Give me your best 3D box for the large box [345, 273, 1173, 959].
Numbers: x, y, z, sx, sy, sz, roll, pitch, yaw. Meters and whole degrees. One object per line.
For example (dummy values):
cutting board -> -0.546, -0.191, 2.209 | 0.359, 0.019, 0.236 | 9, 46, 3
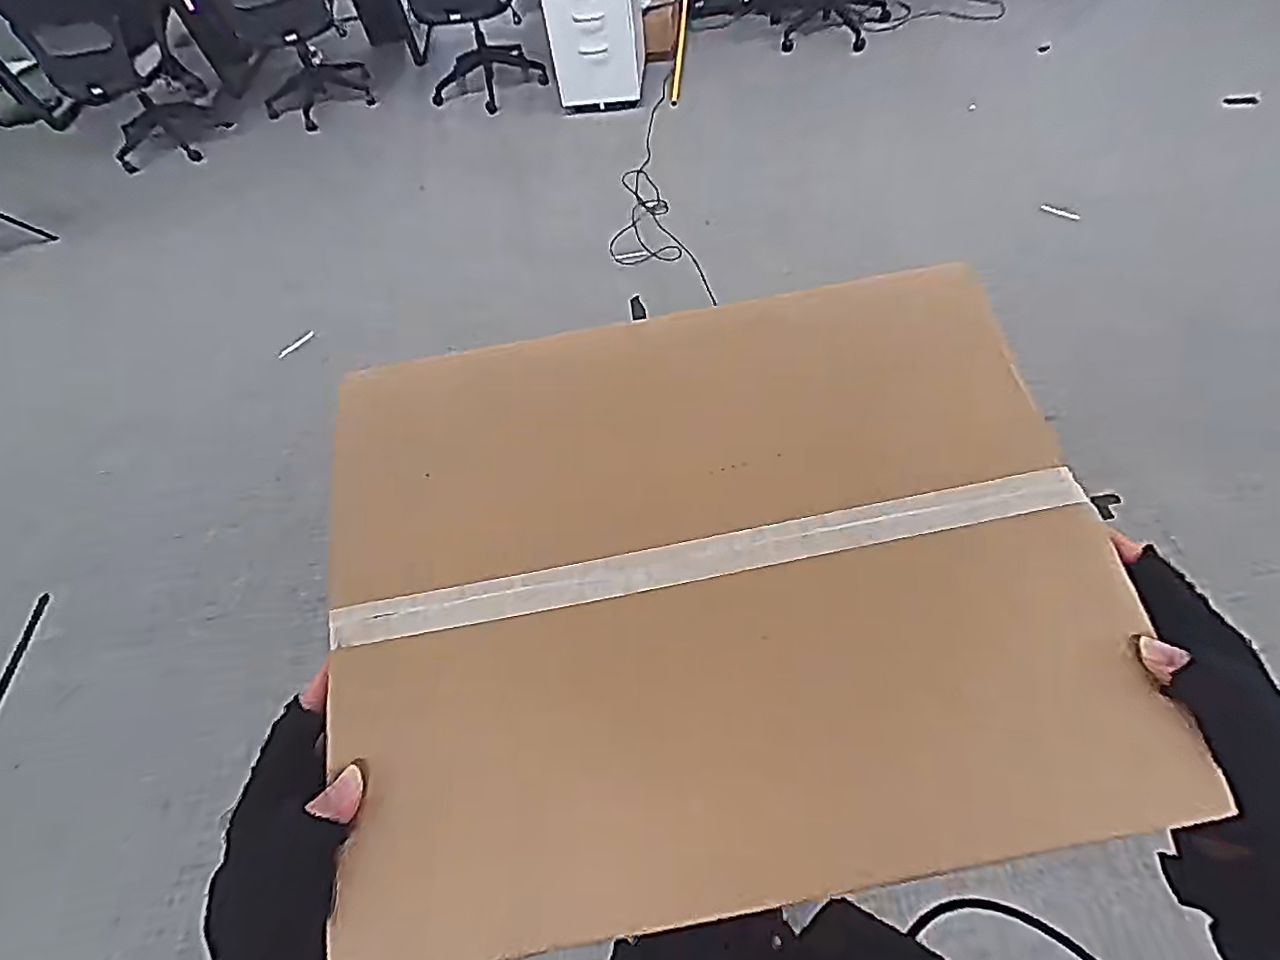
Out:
large box -> 0.043, 0.093, 0.442 | 0.408, 0.320, 0.320 | -12, 70, 0
